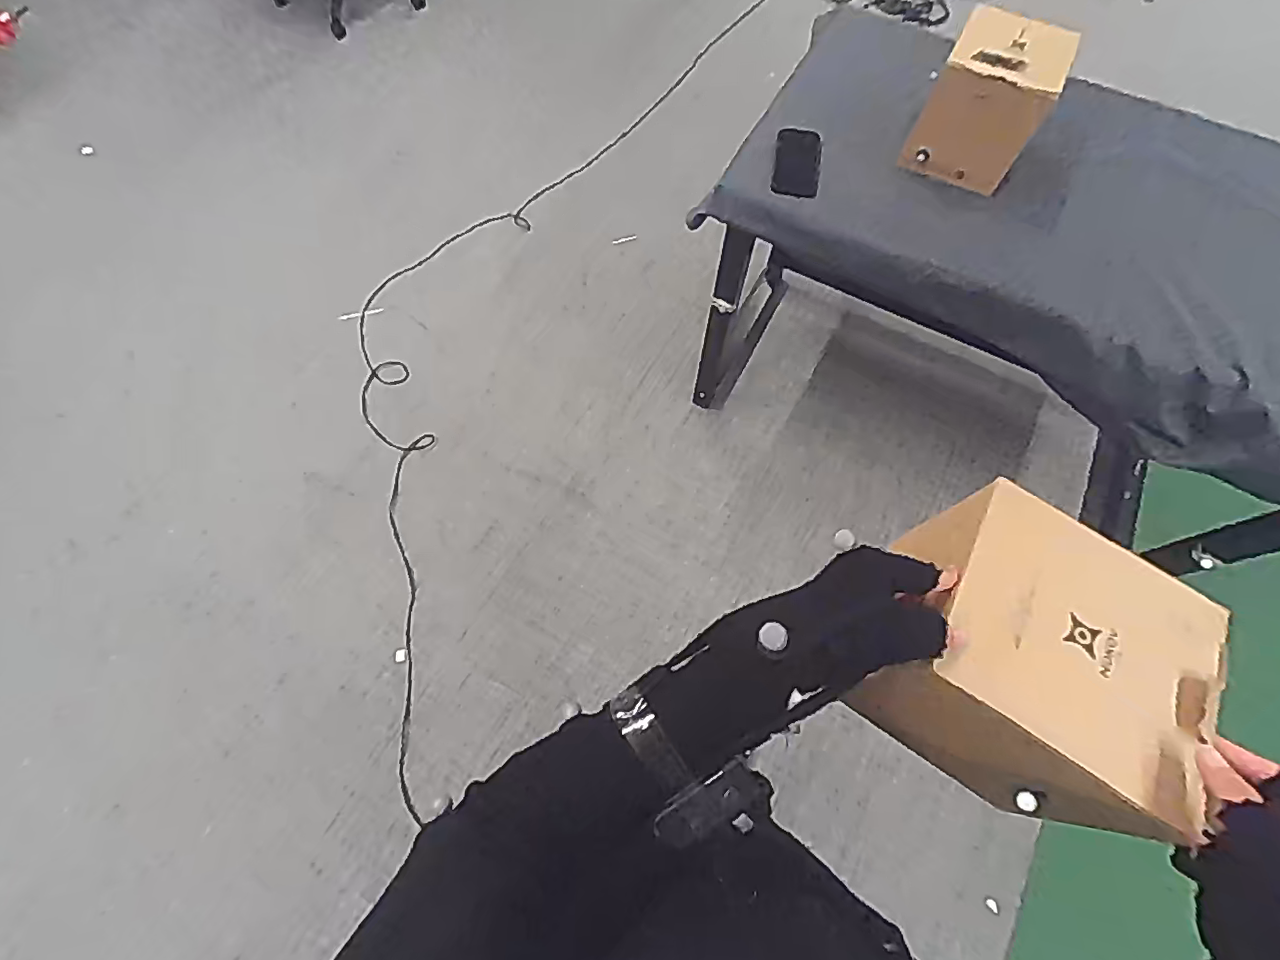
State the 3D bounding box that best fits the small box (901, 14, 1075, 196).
[{"bbox_3d":[0.564,-0.613,0.898,0.168,0.176,0.179,27,68,9],"label":"small box"}]
